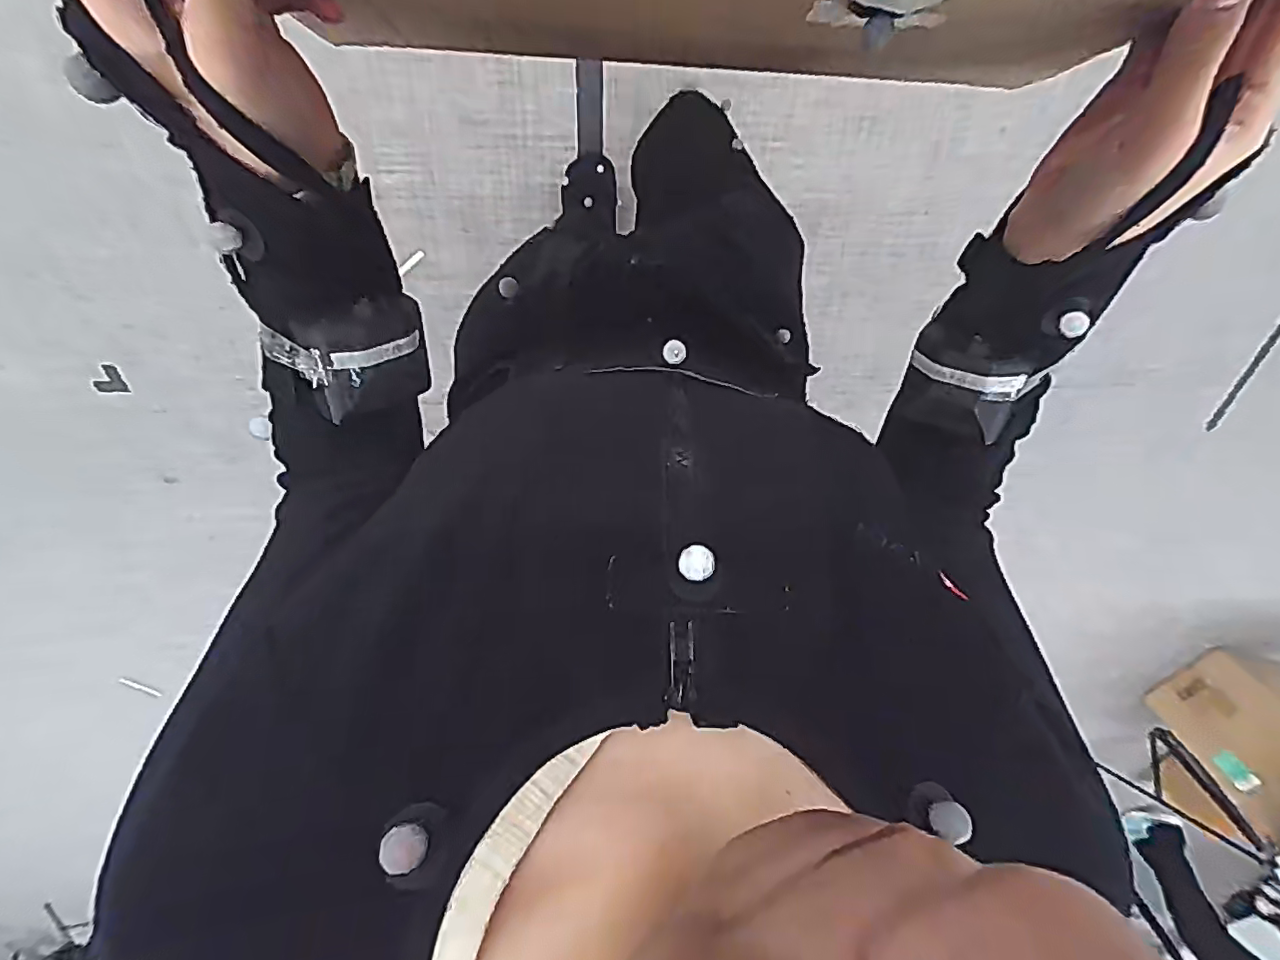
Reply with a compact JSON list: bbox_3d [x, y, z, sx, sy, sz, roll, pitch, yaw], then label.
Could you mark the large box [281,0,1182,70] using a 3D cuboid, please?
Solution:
[{"bbox_3d":[0.037,-0.331,0.121,0.408,0.320,0.320,0,114,-4],"label":"large box"}]
